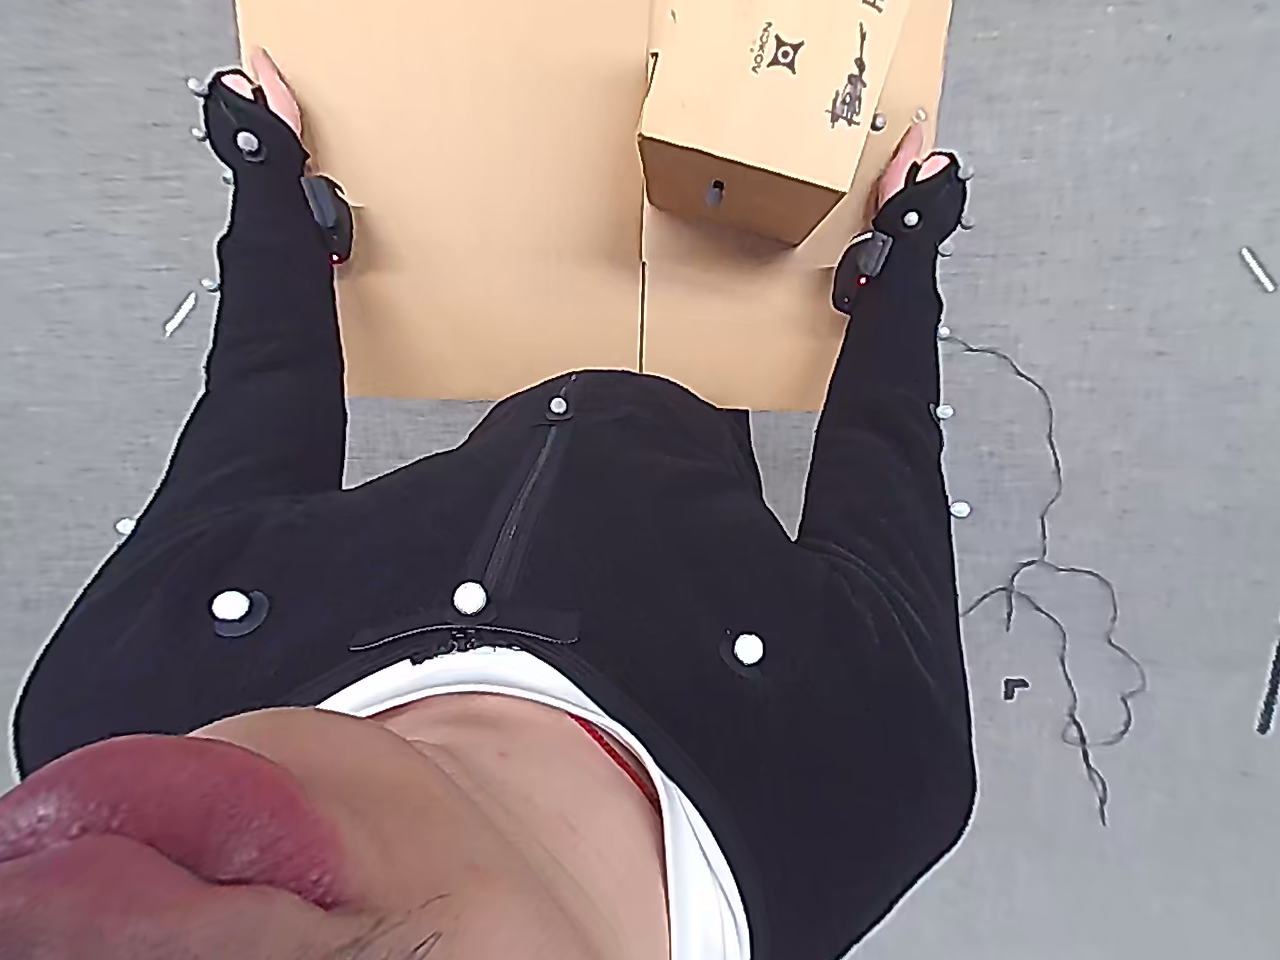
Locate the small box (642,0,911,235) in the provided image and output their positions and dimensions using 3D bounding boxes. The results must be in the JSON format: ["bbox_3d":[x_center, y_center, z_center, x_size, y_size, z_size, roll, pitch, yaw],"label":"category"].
[{"bbox_3d":[0.112,-0.346,0.496,0.179,0.176,0.168,17,101,1],"label":"small box"}]
